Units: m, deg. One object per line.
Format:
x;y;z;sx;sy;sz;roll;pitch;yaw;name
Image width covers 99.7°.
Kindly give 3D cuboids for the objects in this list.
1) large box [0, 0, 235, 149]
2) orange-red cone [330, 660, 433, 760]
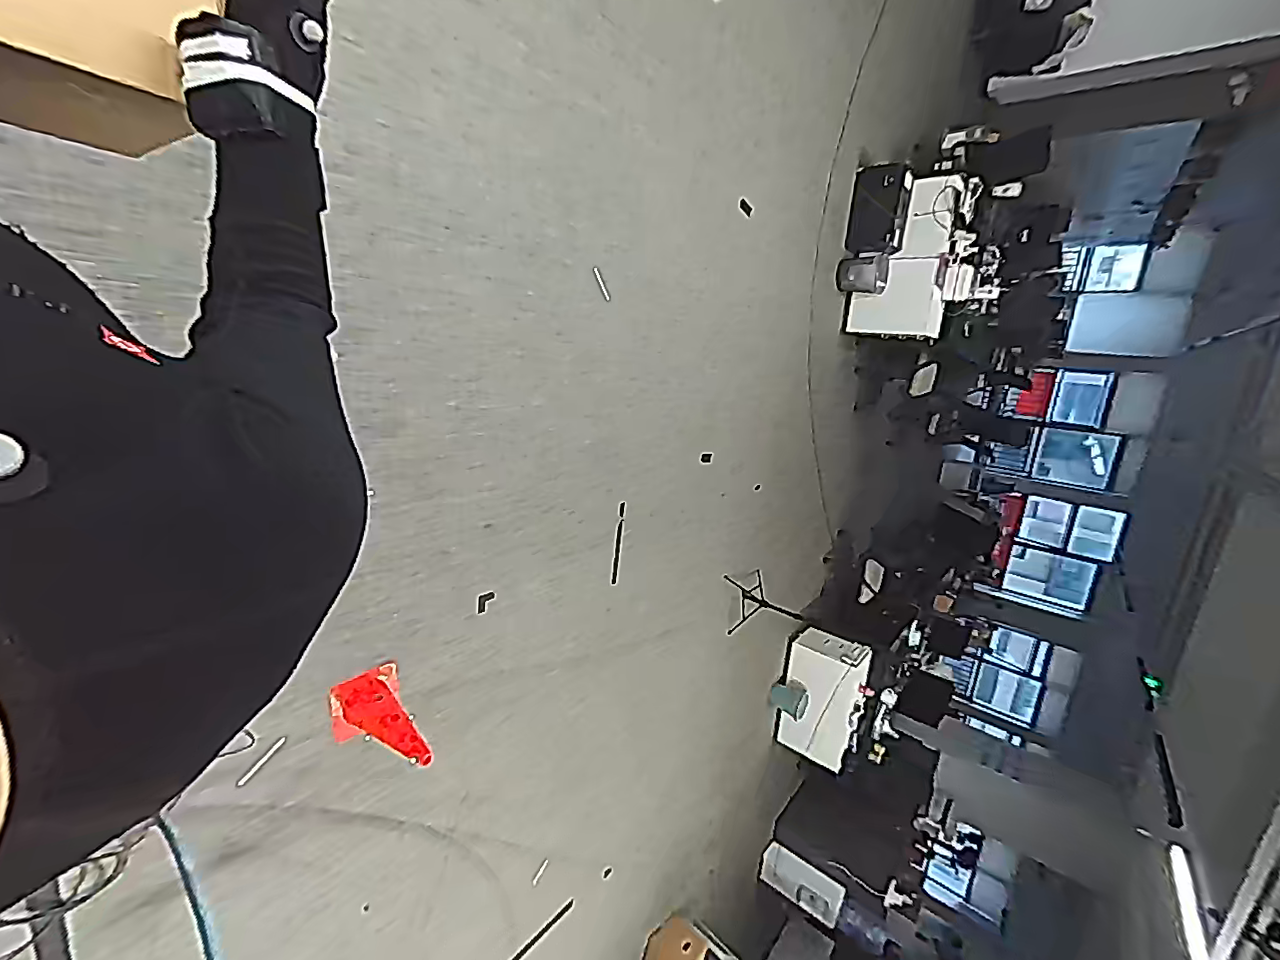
-0.527;-0.438;0.303;0.408;0.320;0.320;-10;113;-52;large box
-0.717;0.708;1.570;0.198;0.360;0.199;-15;113;-50;orange-red cone
